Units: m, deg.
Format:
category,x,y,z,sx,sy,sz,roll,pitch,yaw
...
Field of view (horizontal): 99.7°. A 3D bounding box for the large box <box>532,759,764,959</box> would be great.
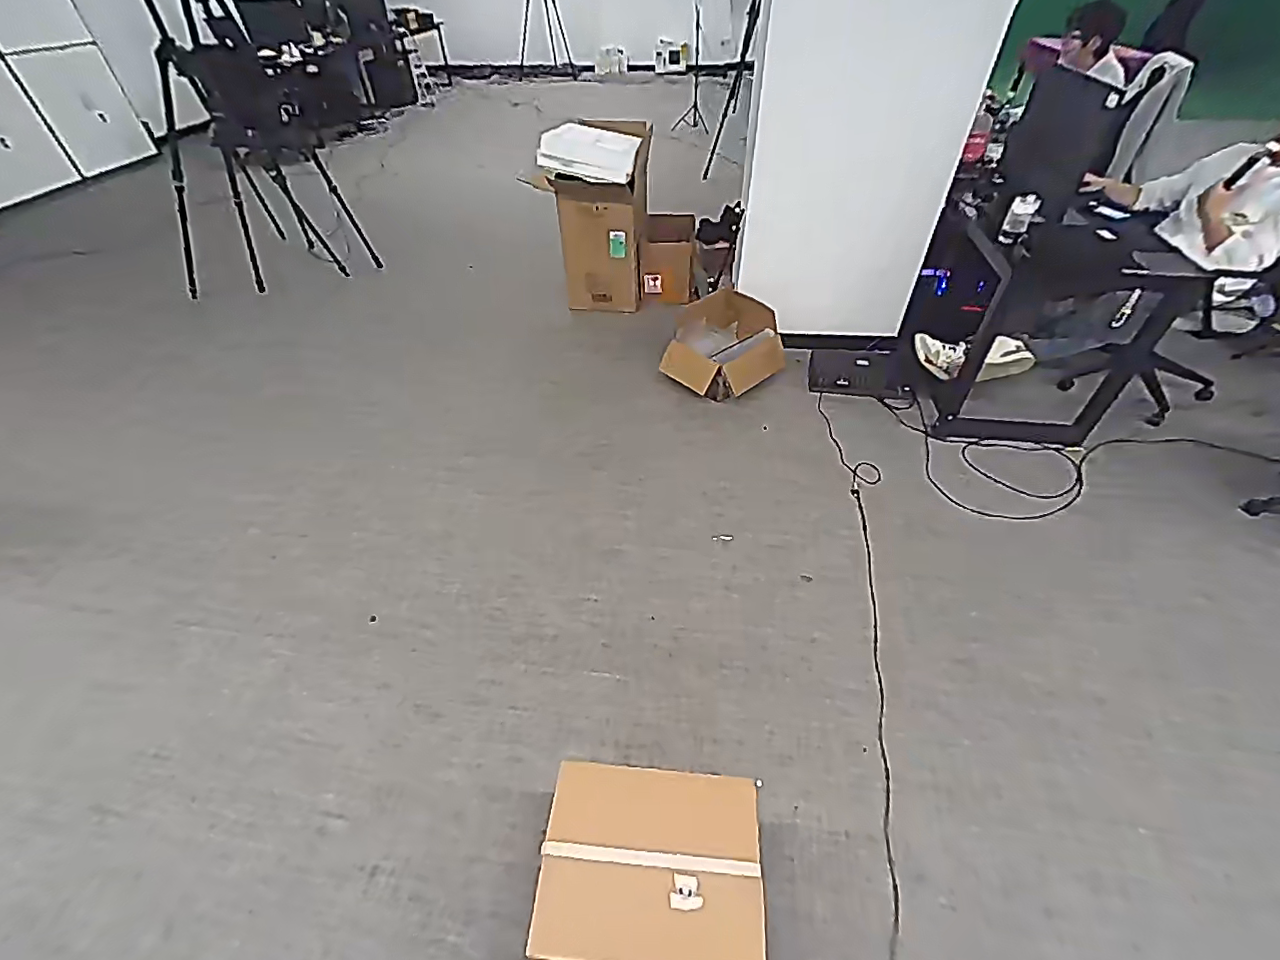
category,x,y,z,sx,sy,sz,roll,pitch,yaw
large box,0.022,0.811,1.123,0.408,0.320,0.320,4,45,4
